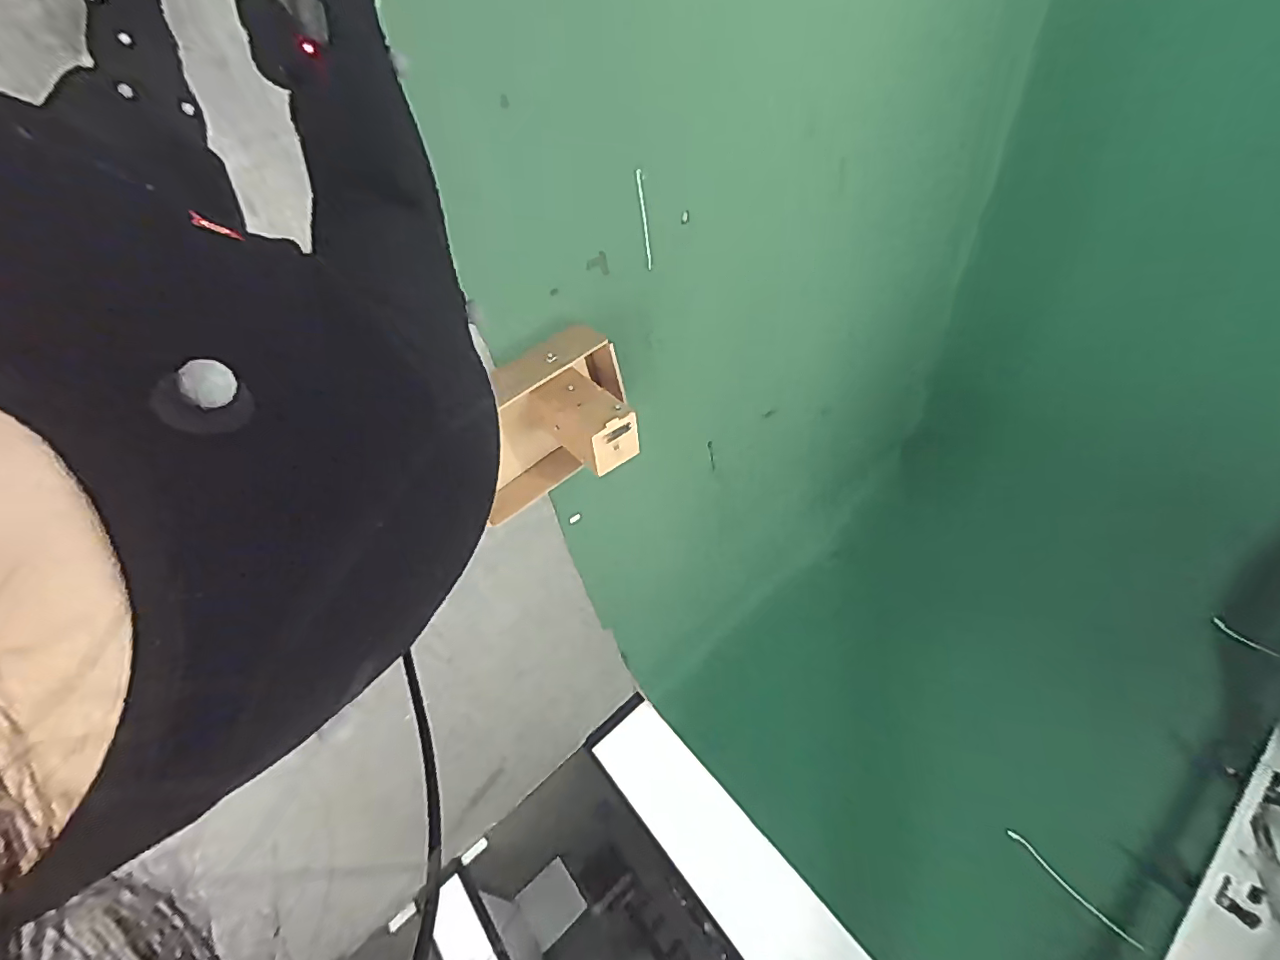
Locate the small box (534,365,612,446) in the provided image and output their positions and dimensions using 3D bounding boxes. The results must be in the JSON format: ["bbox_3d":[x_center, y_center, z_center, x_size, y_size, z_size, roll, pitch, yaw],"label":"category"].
[{"bbox_3d":[-0.220,-0.251,1.783,0.179,0.176,0.168,-35,142,-19],"label":"small box"}]
